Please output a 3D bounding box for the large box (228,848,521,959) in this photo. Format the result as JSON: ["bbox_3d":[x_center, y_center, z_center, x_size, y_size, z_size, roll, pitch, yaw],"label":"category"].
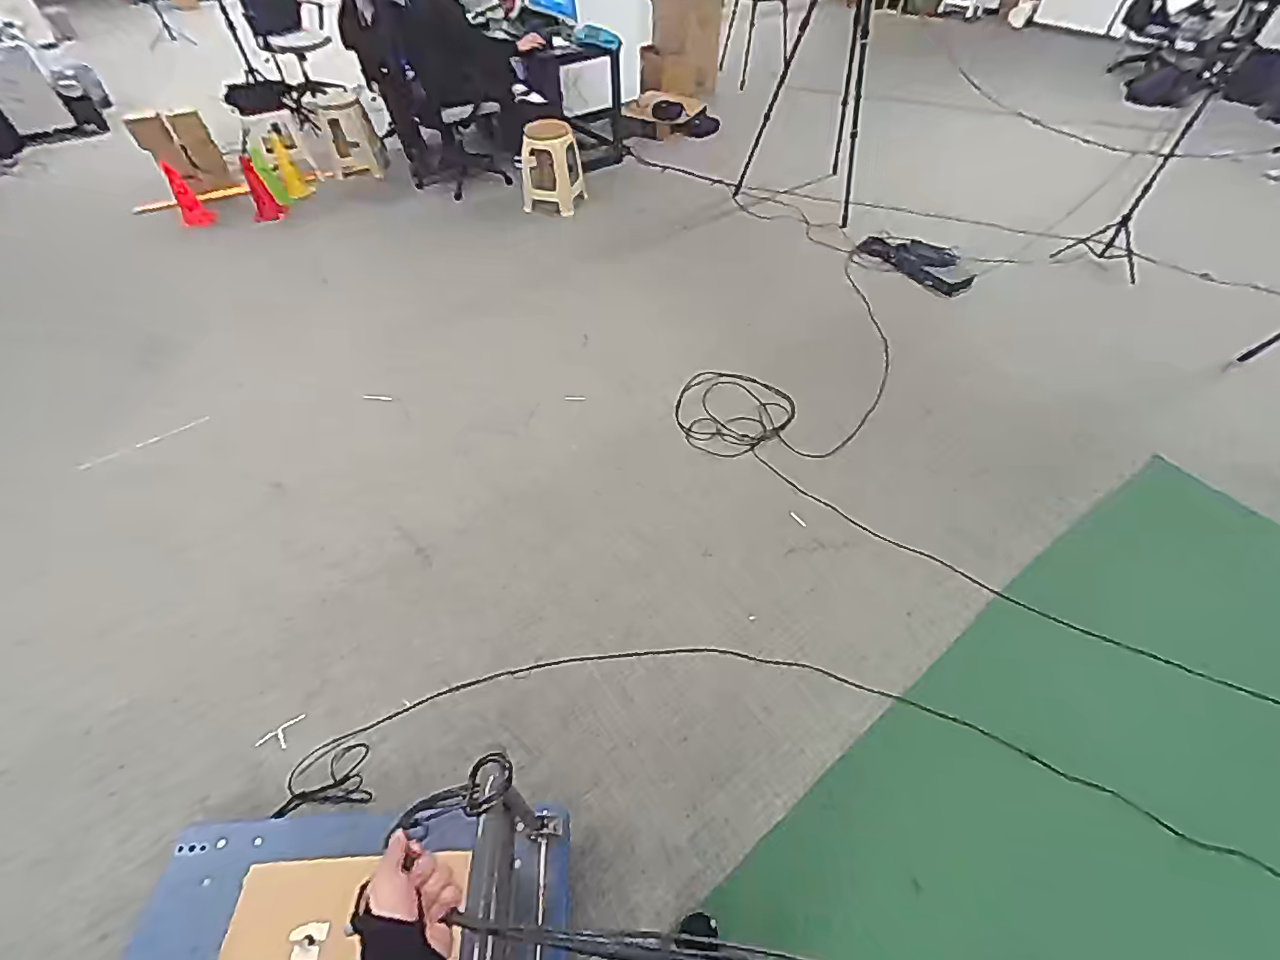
[{"bbox_3d":[-0.441,0.860,0.943,0.408,0.320,0.320,-4,49,-1],"label":"large box"}]
